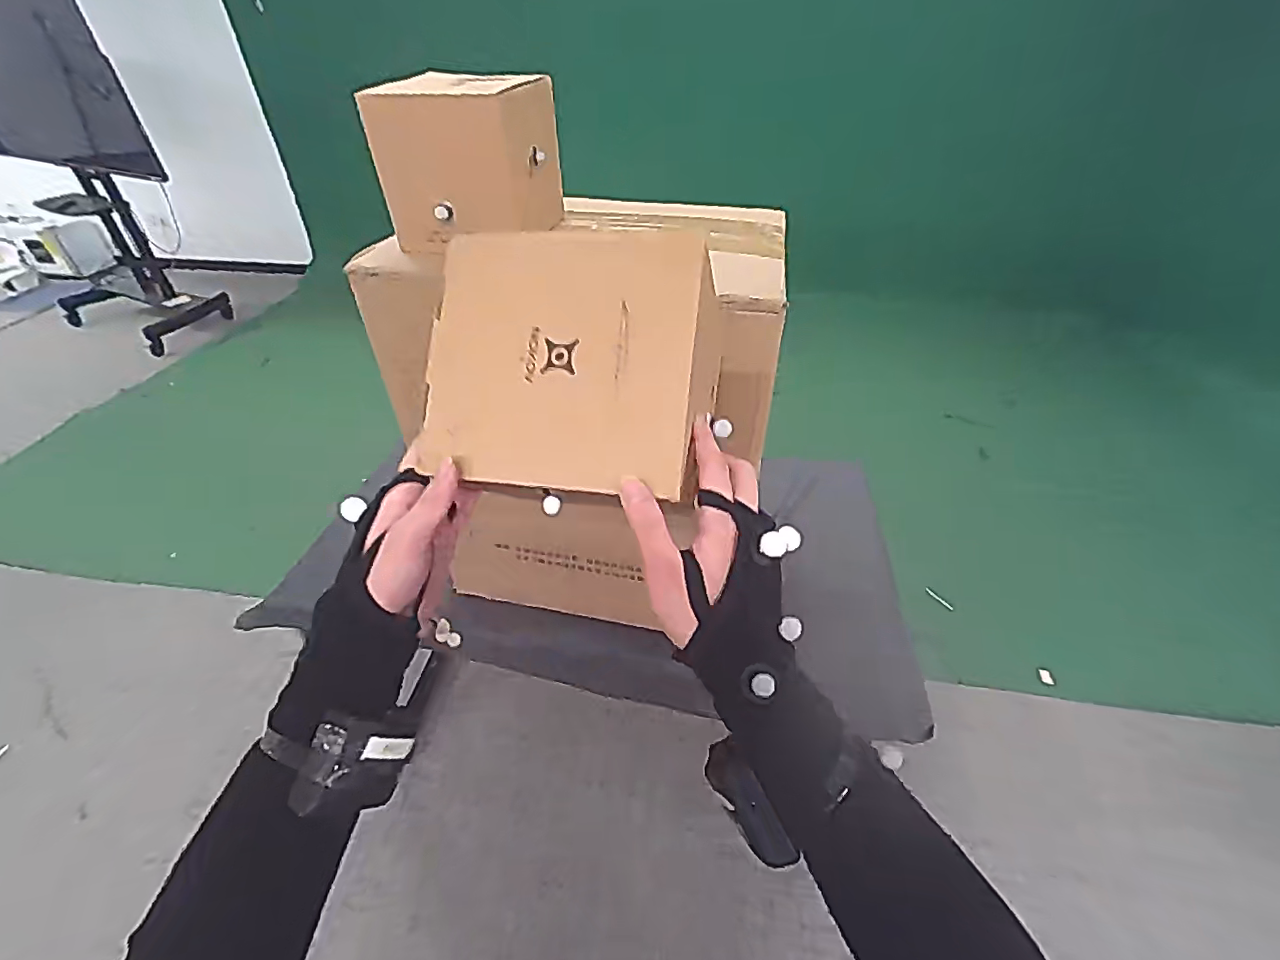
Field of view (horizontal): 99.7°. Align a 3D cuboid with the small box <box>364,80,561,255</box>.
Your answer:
[{"bbox_3d":[-0.206,-0.397,0.690,0.168,0.176,0.179,7,43,10],"label":"small box"}]

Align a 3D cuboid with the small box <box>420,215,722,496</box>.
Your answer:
[{"bbox_3d":[-0.035,-0.079,0.418,0.179,0.168,0.176,5,-4,11],"label":"small box"}]
